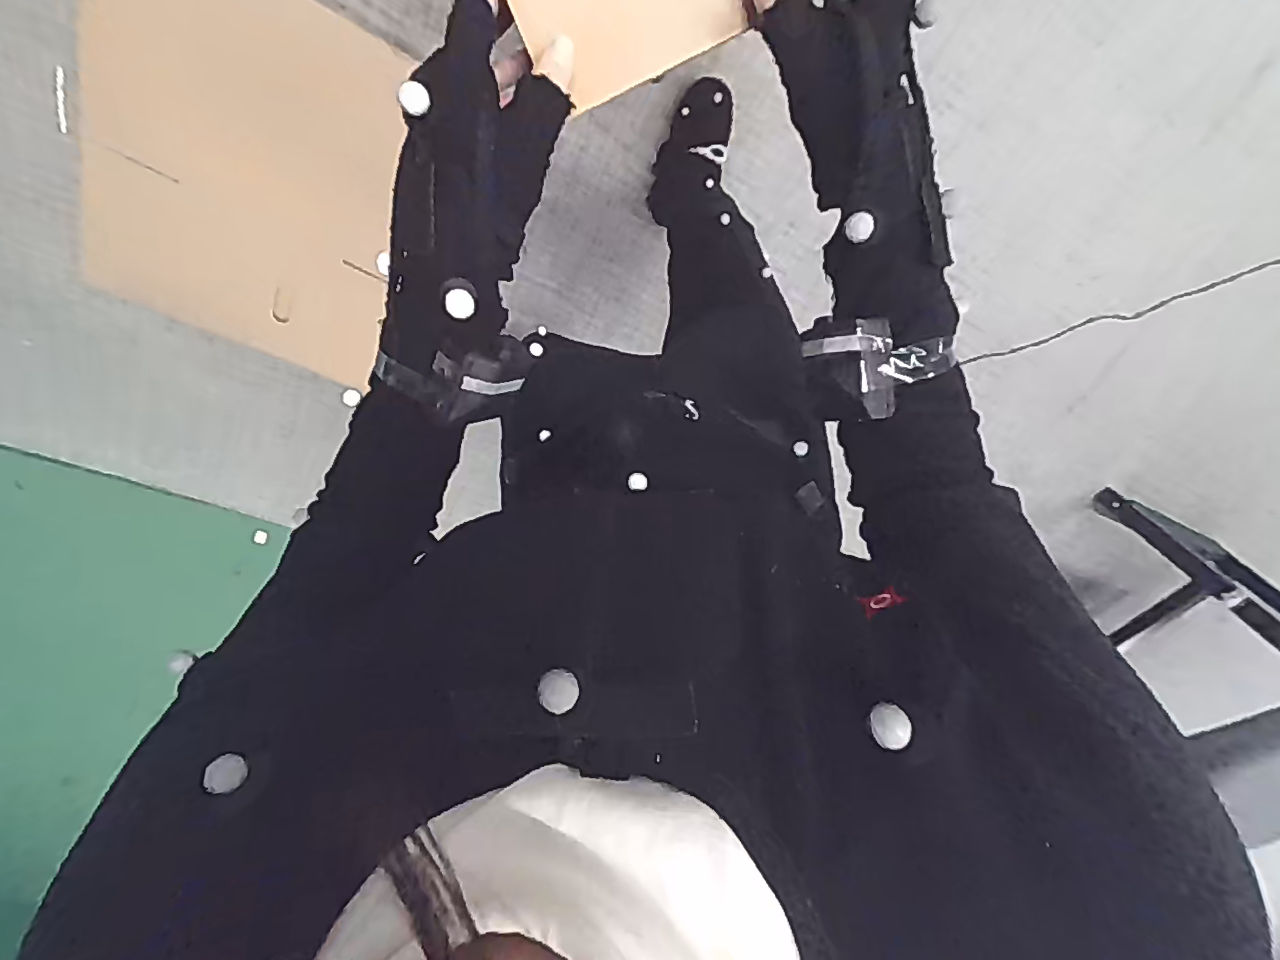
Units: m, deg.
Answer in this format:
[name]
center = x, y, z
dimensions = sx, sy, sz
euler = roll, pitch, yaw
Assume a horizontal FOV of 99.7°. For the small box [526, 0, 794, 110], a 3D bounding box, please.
[small box]
center = -0.003, -0.345, 0.299
dimensions = 0.168, 0.176, 0.179
euler = -21, 130, 12
